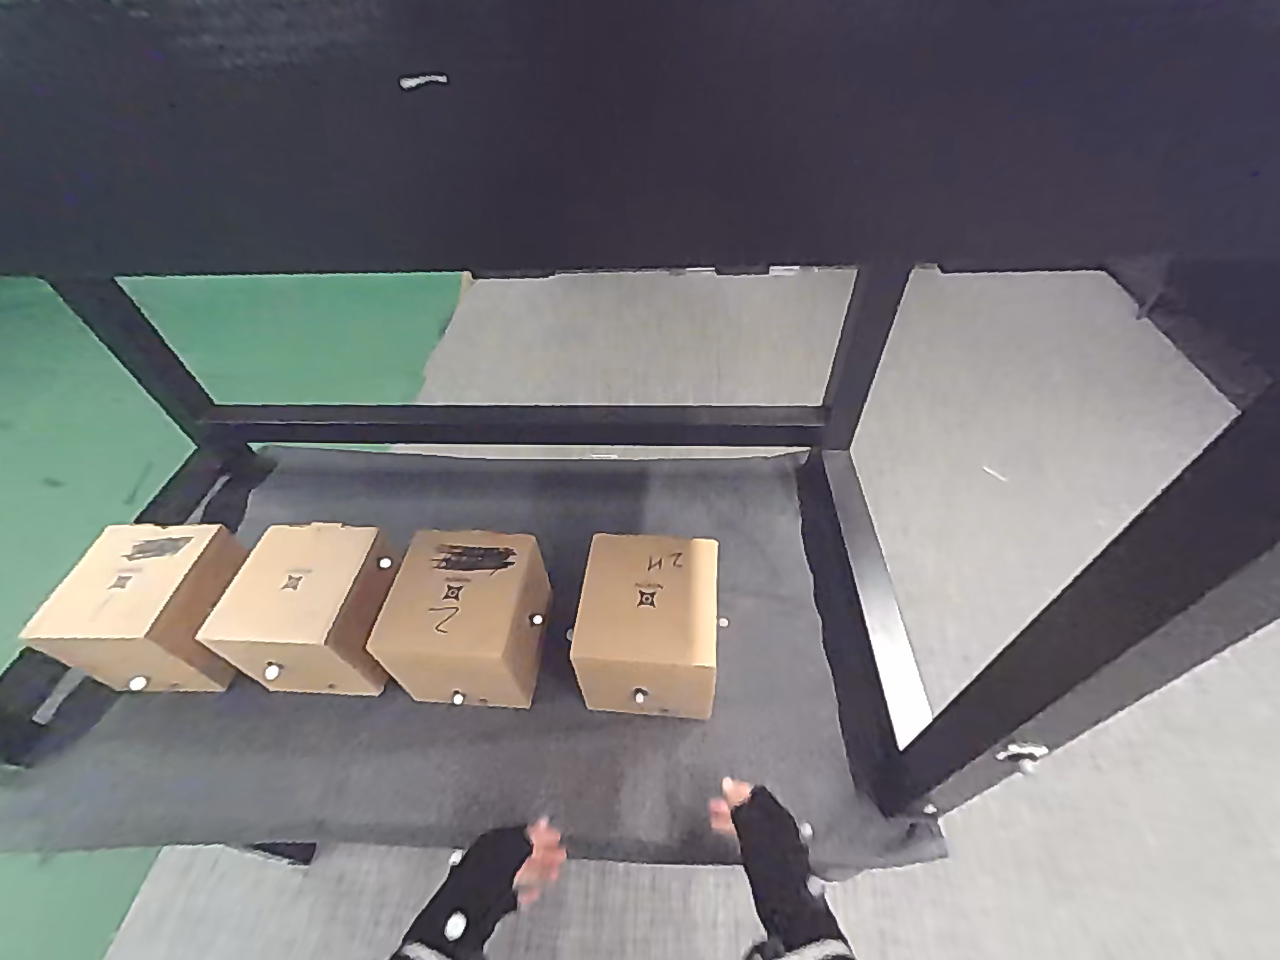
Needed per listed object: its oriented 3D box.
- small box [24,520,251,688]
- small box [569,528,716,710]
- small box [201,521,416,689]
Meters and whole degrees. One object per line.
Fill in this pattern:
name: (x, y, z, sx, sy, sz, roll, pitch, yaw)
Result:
small box: (-0.667, 0.176, 0.770, 0.168, 0.176, 0.179, -1, 47, 3)
small box: (0.013, 0.186, 0.716, 0.168, 0.176, 0.179, 3, 47, 6)
small box: (-0.440, 0.177, 0.758, 0.168, 0.176, 0.179, 1, 47, 4)
